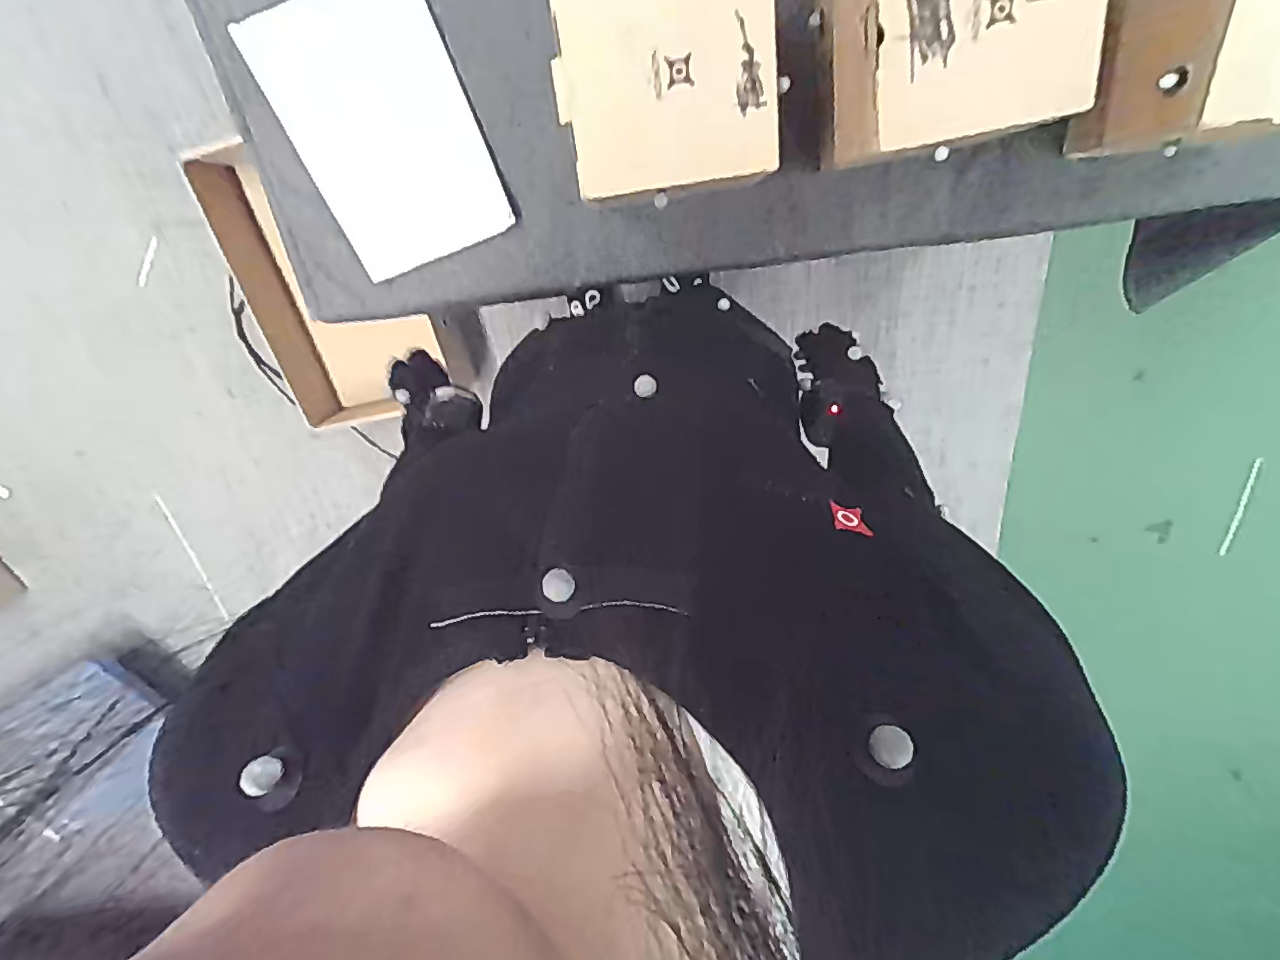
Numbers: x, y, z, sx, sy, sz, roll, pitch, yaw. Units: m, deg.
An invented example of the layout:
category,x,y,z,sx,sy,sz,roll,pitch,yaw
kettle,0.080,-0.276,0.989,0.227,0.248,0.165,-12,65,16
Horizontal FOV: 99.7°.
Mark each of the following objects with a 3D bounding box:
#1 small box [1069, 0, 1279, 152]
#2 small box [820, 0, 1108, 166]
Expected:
category,x,y,z,sx,sy,sz,roll,pitch,yaw
small box,0.530,-0.408,0.476,0.168,0.176,0.179,-3,114,3
small box,0.268,-0.397,0.485,0.179,0.176,0.168,-9,114,5
